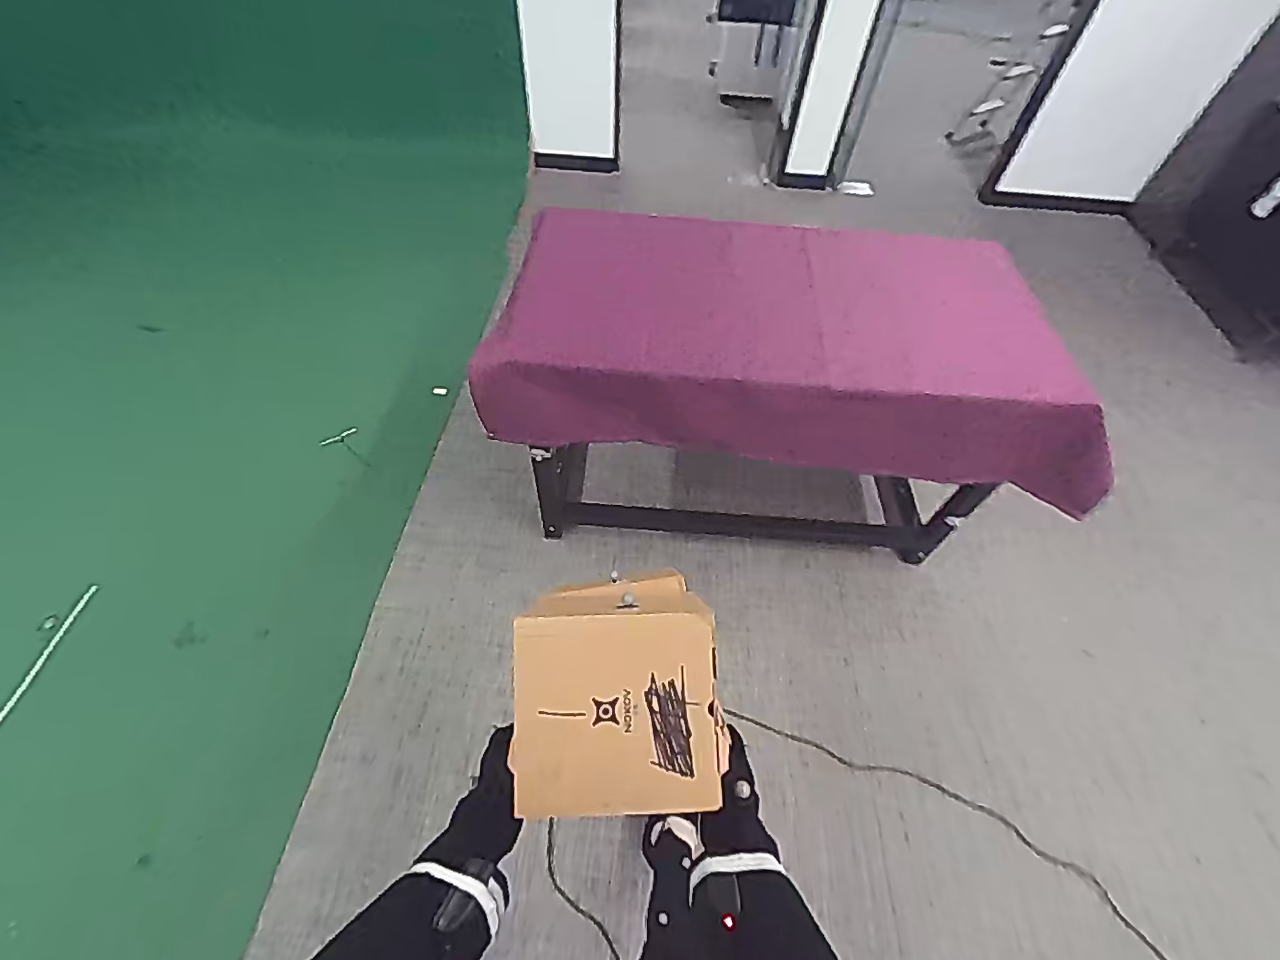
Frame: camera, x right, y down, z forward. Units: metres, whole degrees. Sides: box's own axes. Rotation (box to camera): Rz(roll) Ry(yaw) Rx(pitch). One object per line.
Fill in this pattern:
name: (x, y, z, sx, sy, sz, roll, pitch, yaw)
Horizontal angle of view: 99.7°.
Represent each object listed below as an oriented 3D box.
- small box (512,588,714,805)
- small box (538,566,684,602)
small box: (-0.026, 0.202, 0.550, 0.179, 0.176, 0.168, -2, 84, -1)
small box: (-0.030, 0.207, 0.714, 0.179, 0.176, 0.168, -7, 84, -2)
